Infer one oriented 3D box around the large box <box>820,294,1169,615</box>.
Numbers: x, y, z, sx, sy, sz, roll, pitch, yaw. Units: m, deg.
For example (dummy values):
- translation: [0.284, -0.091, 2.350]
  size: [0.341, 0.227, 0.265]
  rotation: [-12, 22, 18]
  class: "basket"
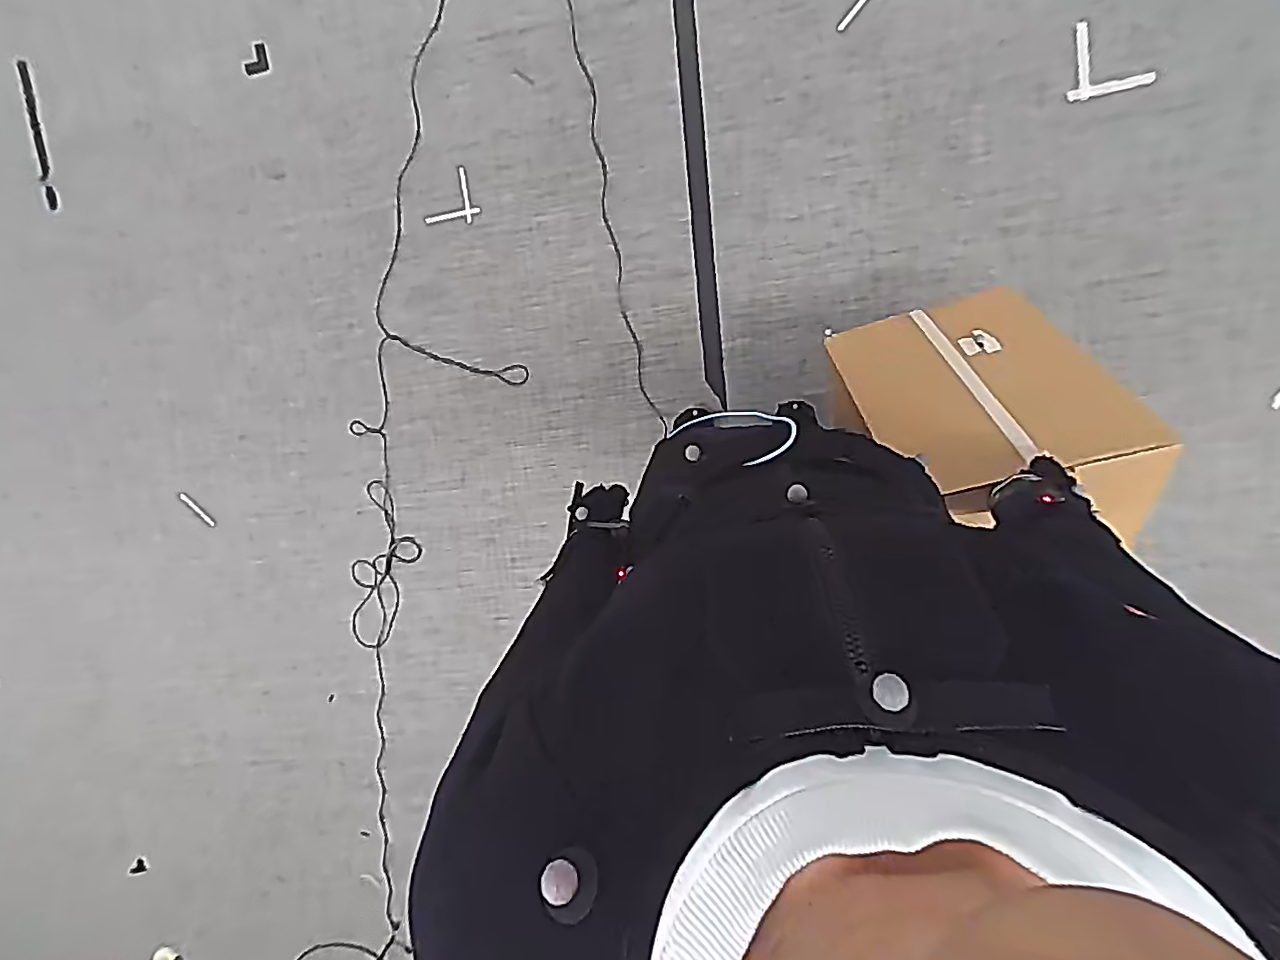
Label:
- translation: [0.530, -0.046, 0.915]
  size: [0.320, 0.408, 0.320]
  rotation: [-14, 133, 9]
  class: "large box"
